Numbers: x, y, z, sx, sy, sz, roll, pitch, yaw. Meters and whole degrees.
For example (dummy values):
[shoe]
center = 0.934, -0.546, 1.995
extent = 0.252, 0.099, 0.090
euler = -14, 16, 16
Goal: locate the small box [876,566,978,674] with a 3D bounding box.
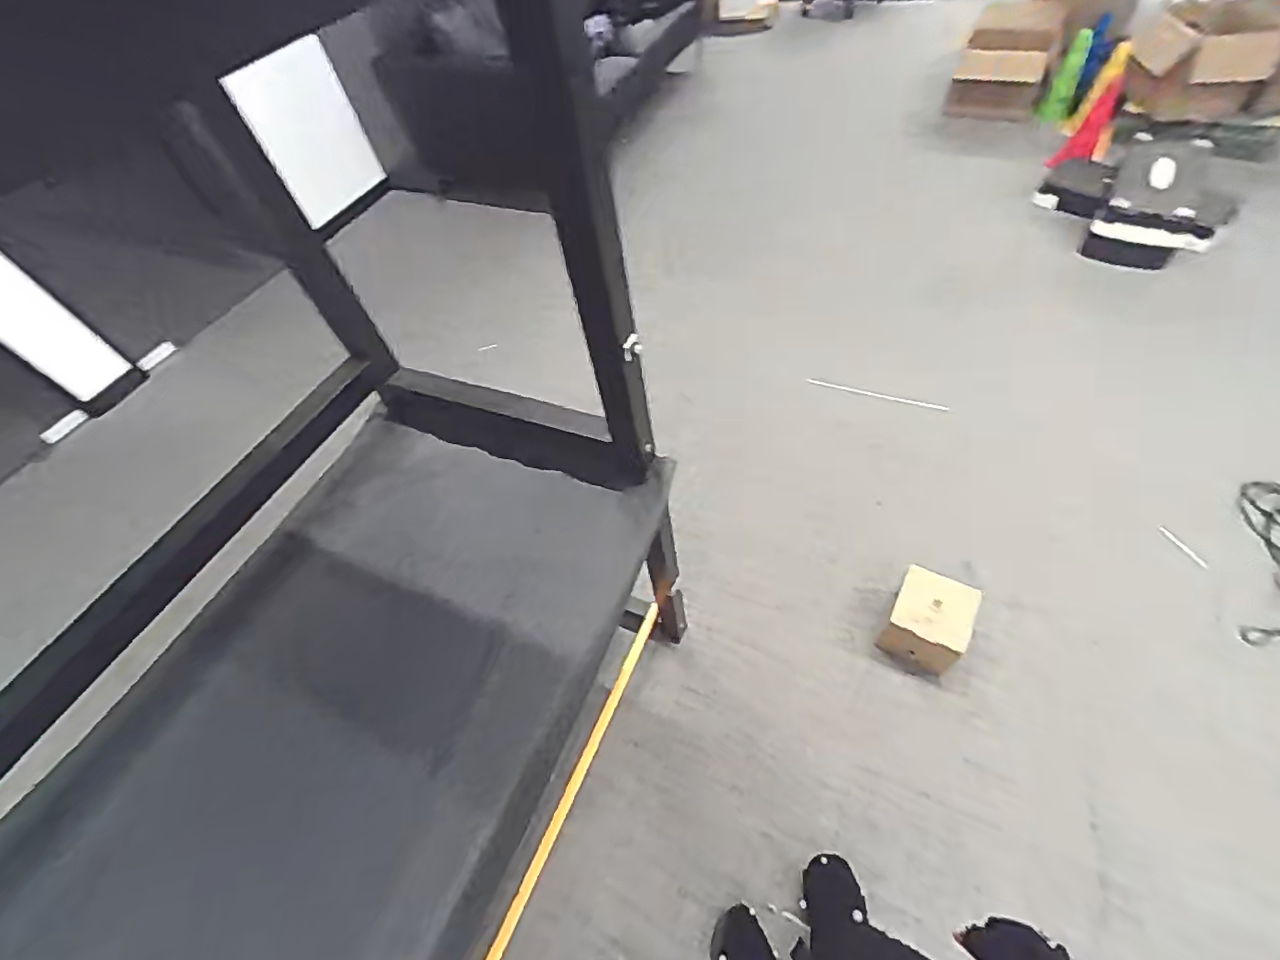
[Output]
[small box]
center = 0.712, 0.352, 1.355
extent = 0.168, 0.176, 0.179
euler = 22, 61, 24
